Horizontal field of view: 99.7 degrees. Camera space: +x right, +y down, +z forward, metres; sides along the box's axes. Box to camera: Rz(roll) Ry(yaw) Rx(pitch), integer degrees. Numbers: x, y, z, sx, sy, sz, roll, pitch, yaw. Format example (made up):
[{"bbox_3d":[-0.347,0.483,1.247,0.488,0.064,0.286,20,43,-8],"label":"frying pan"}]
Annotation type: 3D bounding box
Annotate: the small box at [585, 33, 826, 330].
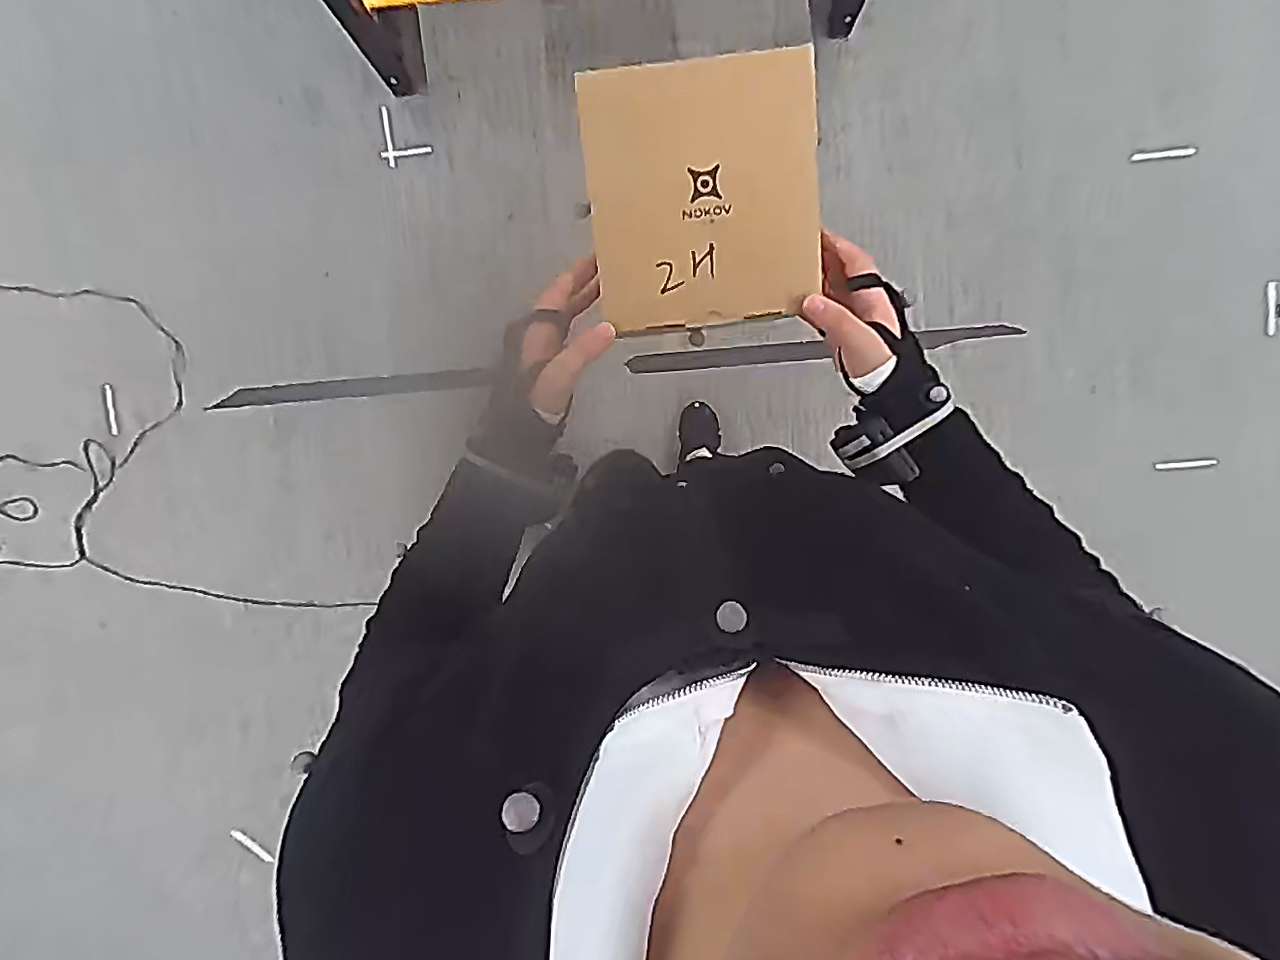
[{"bbox_3d":[0.048,-0.229,0.463,0.168,0.176,0.179,-6,104,1],"label":"small box"}]
